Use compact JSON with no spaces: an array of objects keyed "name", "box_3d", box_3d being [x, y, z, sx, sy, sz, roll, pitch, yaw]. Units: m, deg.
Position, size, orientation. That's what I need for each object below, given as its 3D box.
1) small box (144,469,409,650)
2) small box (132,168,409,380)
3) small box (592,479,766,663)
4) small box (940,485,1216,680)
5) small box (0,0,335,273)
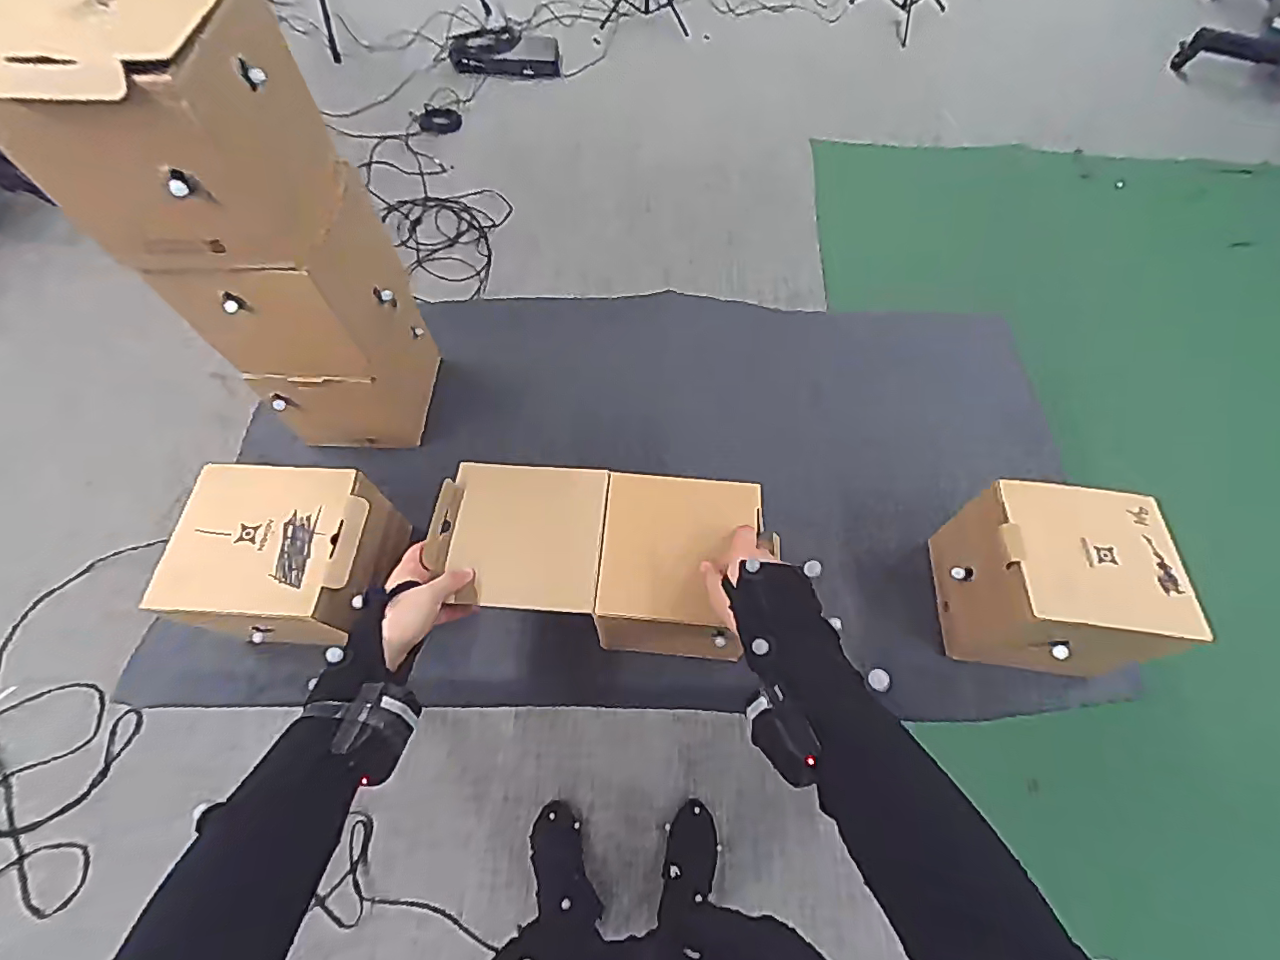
[{"name":"small box","box_3d":[-0.399,0.101,0.637,0.179,0.176,0.168,3,63,1]},{"name":"small box","box_3d":[-0.396,-0.230,0.620,0.179,0.176,0.168,2,64,0]},{"name":"small box","box_3d":[0.043,0.114,0.639,0.179,0.176,0.168,4,61,1]},{"name":"small box","box_3d":[0.477,0.126,0.632,0.179,0.176,0.168,7,59,4]},{"name":"small box","box_3d":[-0.401,-0.303,0.476,0.168,0.176,0.179,-1,62,-3]}]
